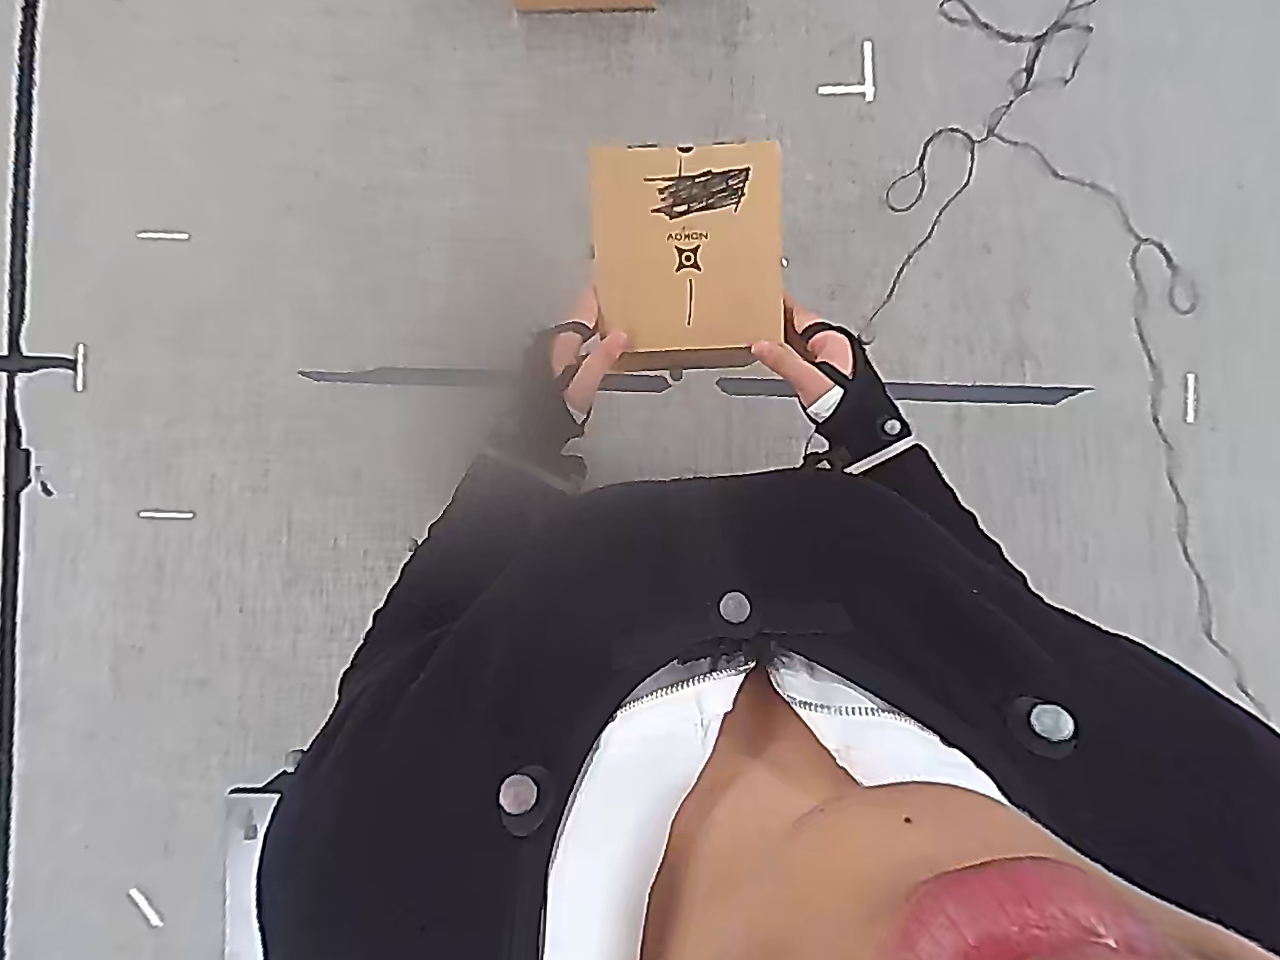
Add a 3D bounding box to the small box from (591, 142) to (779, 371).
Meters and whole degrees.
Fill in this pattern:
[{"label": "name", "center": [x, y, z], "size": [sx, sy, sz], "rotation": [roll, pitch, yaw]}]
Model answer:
[{"label": "small box", "center": [0.038, -0.212, 0.555], "size": [0.168, 0.176, 0.179], "rotation": [-3, 96, 0]}]
